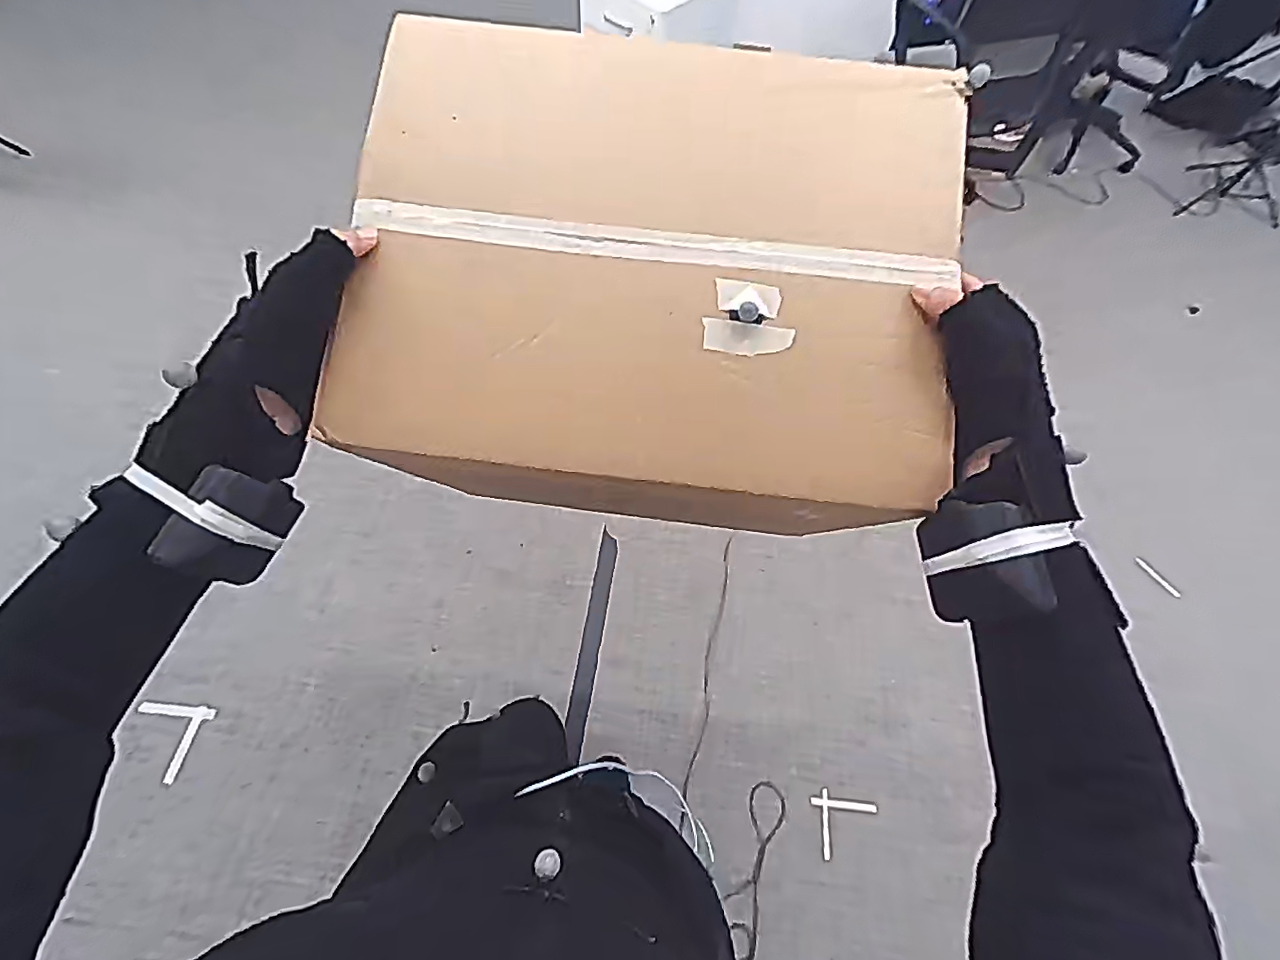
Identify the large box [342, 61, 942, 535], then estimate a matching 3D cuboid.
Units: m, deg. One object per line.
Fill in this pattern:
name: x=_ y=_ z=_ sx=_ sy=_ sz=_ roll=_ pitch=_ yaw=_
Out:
large box: x=0.009 y=-0.124 z=0.528 sx=0.408 sy=0.320 sz=0.320 roll=7 pitch=83 yaw=1
